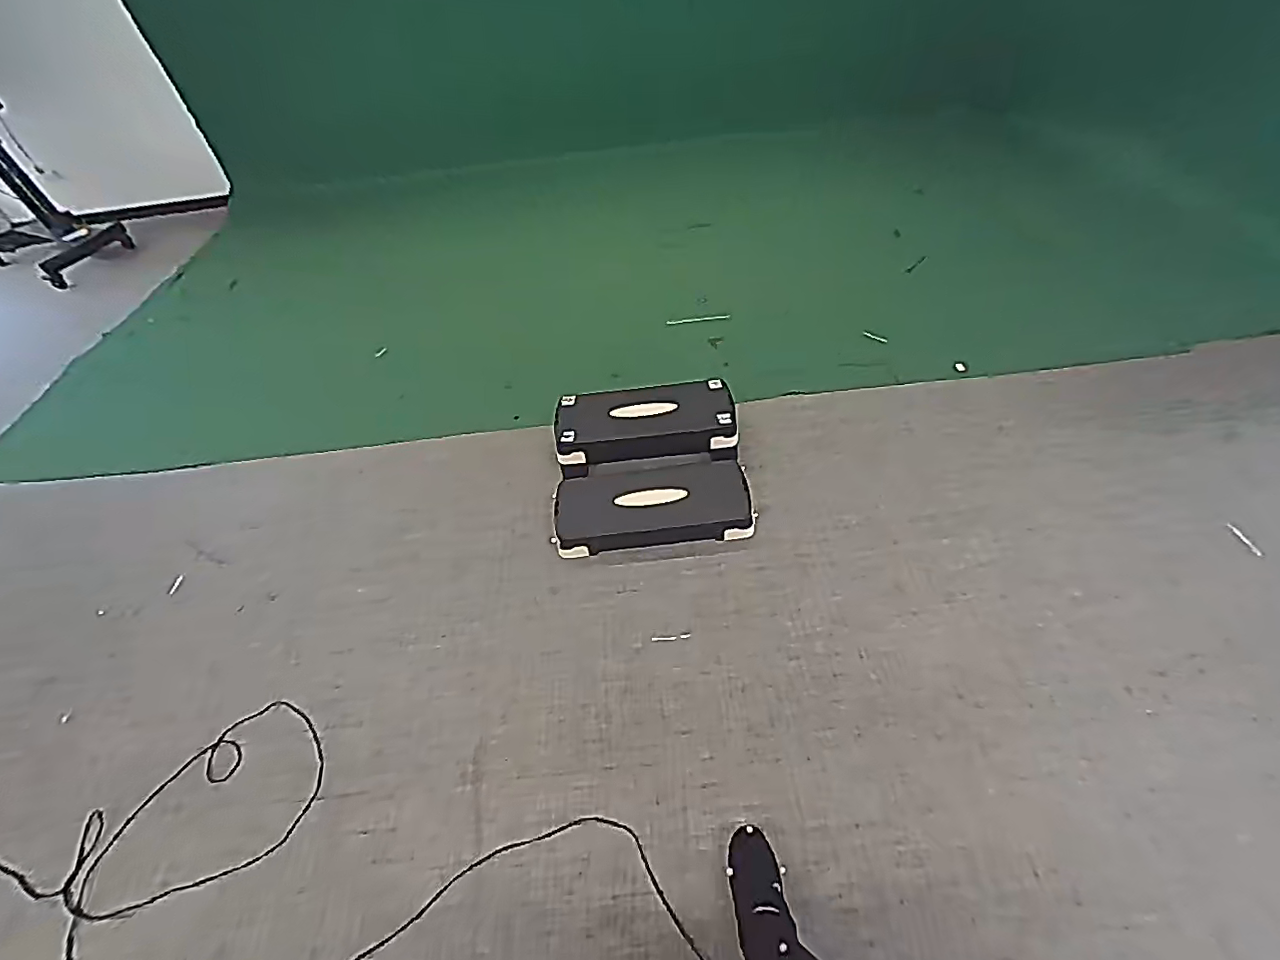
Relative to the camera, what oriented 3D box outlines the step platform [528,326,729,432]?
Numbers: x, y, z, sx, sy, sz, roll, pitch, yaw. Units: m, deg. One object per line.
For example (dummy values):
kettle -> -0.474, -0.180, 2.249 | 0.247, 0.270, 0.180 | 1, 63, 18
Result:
step platform -> -0.036, -0.356, 1.910 | 0.684, 0.204, 0.286 | -7, 49, 2
